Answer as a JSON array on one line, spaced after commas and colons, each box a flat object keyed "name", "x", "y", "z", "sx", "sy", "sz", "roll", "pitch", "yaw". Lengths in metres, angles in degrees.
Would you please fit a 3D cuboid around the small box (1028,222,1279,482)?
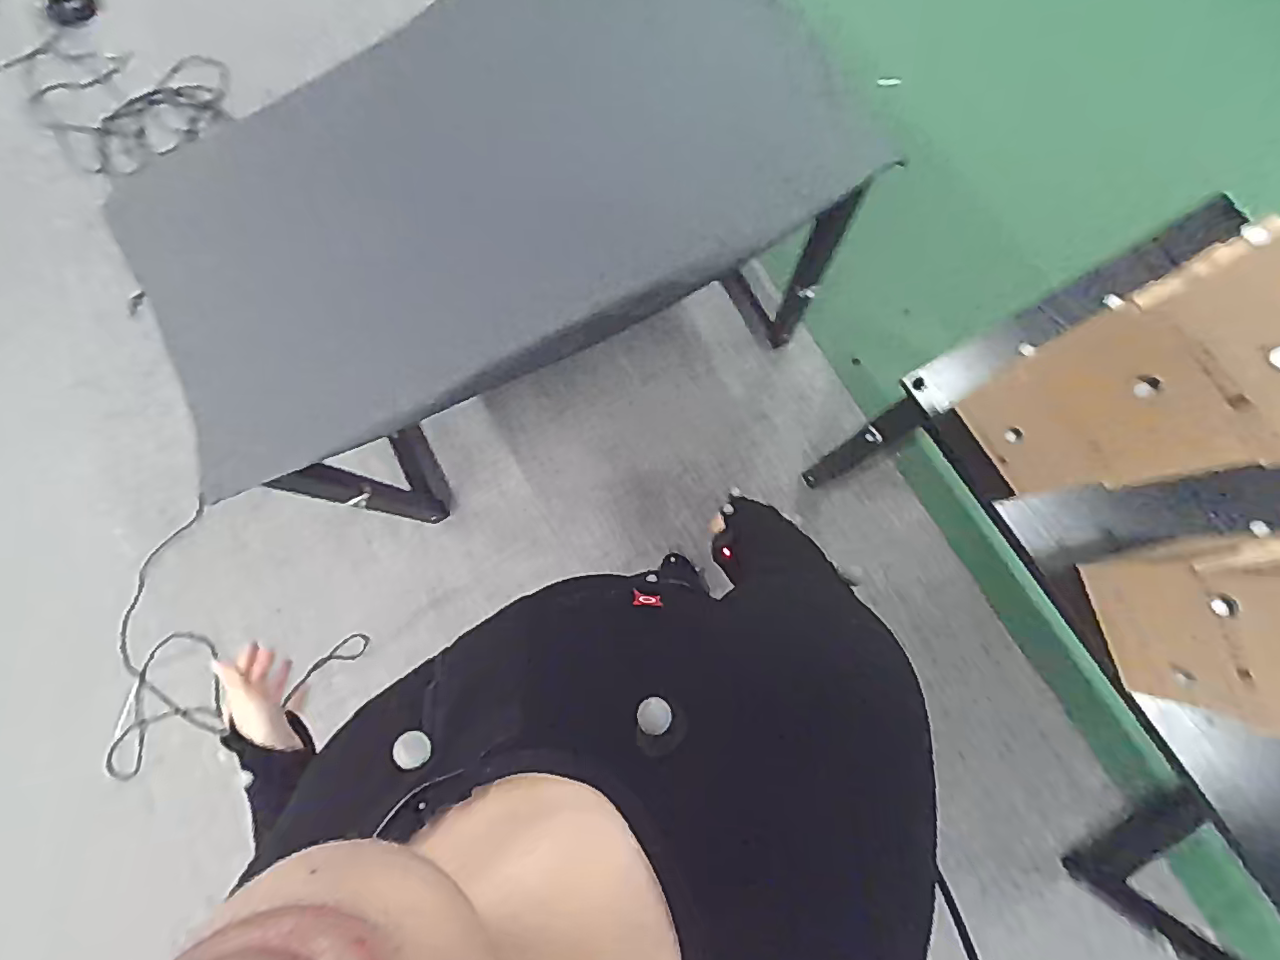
[{"name": "small box", "x": 0.558, "y": -0.111, "z": 0.547, "sx": 0.168, "sy": 0.176, "sz": 0.179, "roll": -29, "pitch": 80, "yaw": -2}]

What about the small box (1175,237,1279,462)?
[{"name": "small box", "x": 0.553, "y": -0.130, "z": 0.384, "sx": 0.179, "sy": 0.176, "sz": 0.168, "roll": -28, "pitch": 79, "yaw": -1}]

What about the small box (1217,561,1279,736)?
[{"name": "small box", "x": 0.698, "y": 0.155, "z": 0.492, "sx": 0.179, "sy": 0.176, "sz": 0.168, "roll": -11, "pitch": 80, "yaw": 0}]

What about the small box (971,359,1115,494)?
[{"name": "small box", "x": 0.577, "y": -0.096, "z": 0.708, "sx": 0.179, "sy": 0.176, "sz": 0.168, "roll": -29, "pitch": 81, "yaw": -2}]
